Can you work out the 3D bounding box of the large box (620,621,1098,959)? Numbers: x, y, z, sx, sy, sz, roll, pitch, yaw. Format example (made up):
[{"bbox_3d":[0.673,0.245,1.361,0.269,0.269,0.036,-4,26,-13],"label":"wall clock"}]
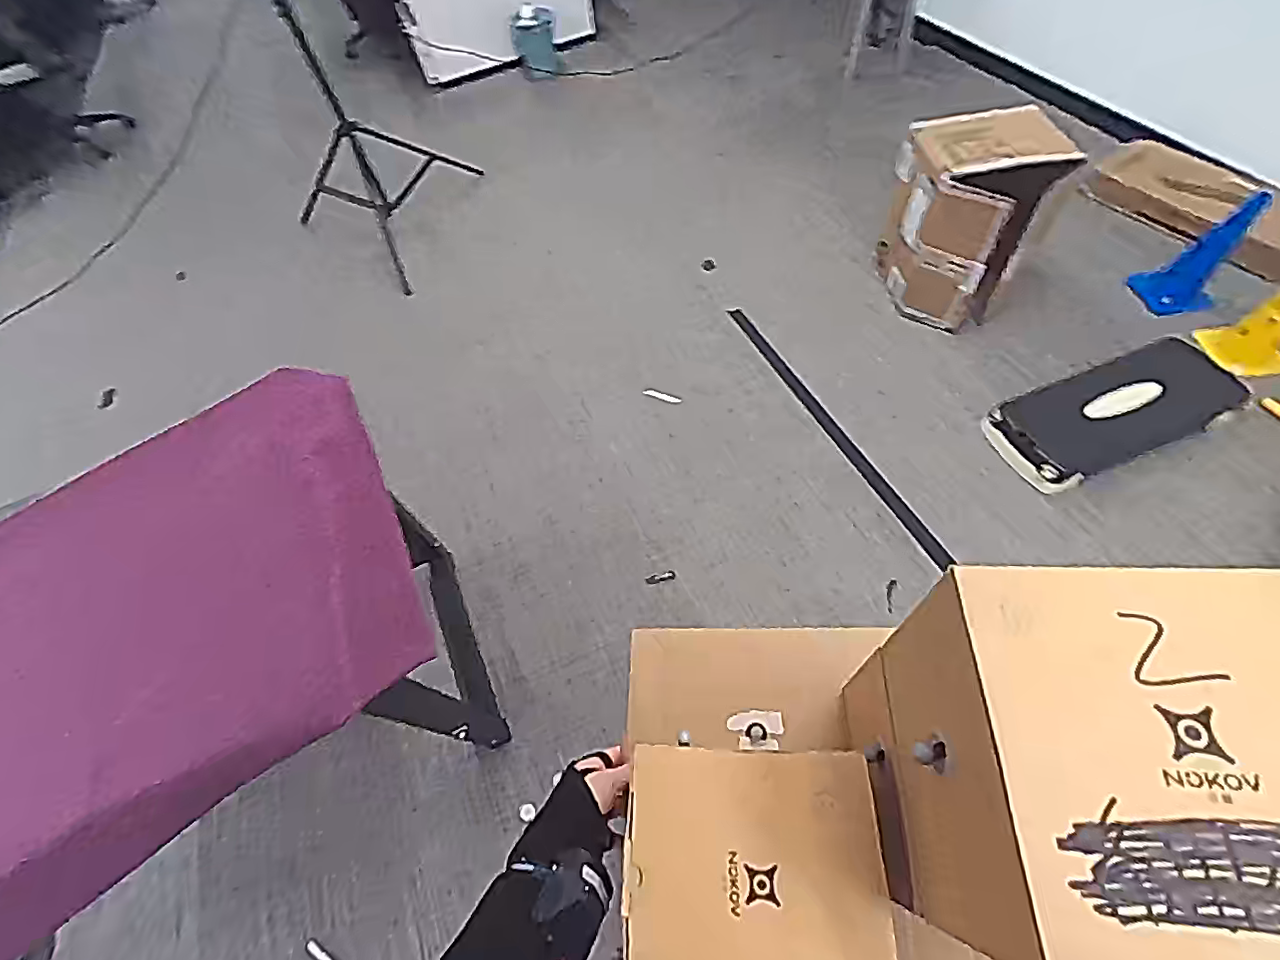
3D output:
[{"bbox_3d":[0.201,0.374,0.656,0.408,0.320,0.320,-4,58,7],"label":"large box"}]

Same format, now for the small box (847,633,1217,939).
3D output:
[{"bbox_3d":[0.274,0.236,0.438,0.168,0.176,0.179,-1,58,10],"label":"small box"}]
